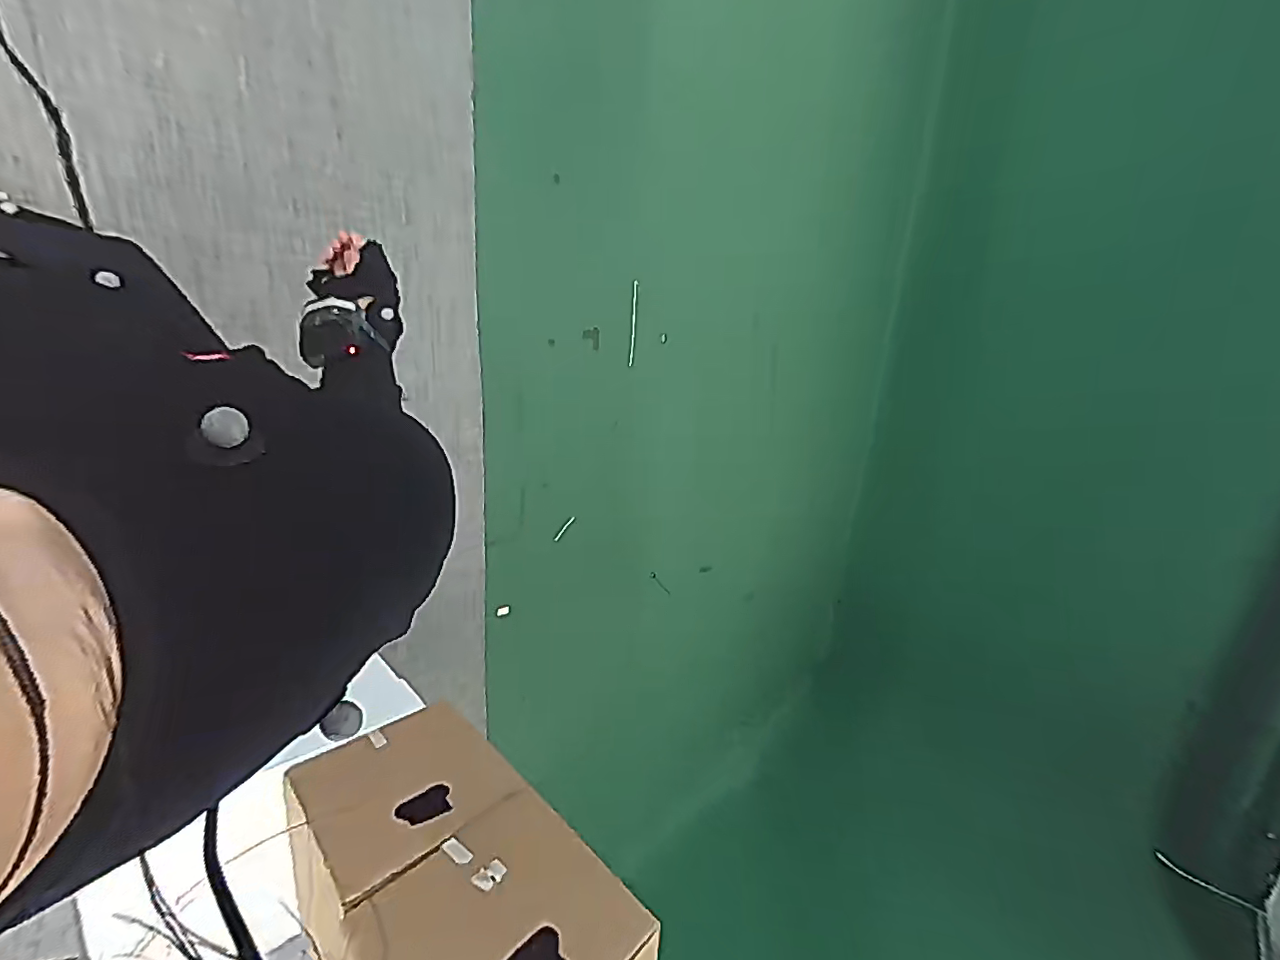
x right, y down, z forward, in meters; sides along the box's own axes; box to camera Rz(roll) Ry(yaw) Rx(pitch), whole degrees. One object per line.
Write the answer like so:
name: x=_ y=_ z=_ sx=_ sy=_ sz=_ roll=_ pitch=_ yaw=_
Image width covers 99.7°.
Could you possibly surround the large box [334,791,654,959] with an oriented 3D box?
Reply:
large box: x=-0.202 y=0.774 z=0.782 sx=0.320 sy=0.320 sz=0.408 roll=-15 pitch=116 yaw=-44
